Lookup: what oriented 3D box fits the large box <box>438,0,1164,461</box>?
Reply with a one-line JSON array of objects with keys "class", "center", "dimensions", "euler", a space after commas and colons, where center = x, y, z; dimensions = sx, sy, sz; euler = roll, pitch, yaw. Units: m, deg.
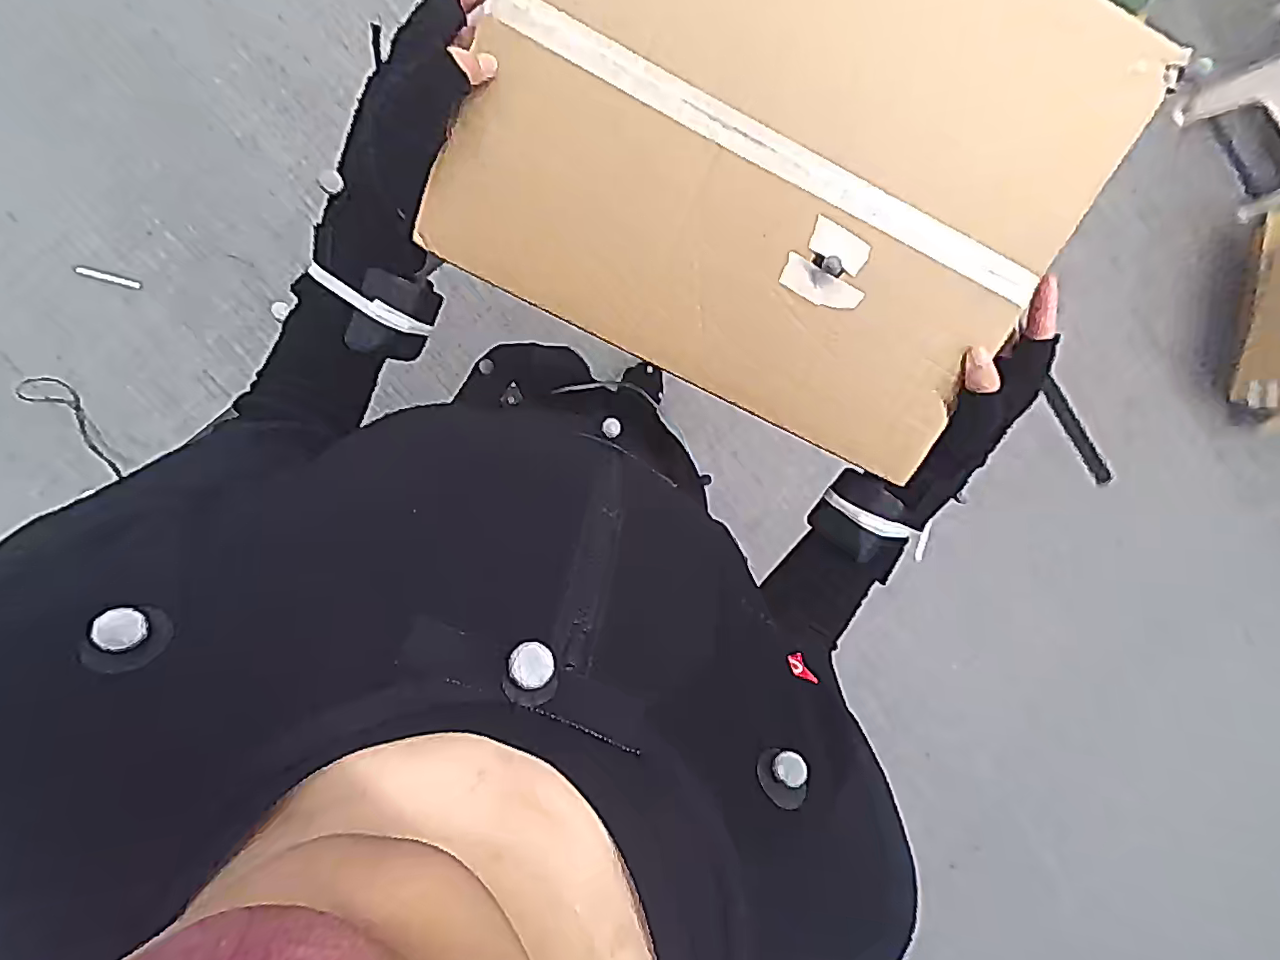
[{"class": "large box", "center": [0.097, -0.269, 0.509], "dimensions": [0.408, 0.320, 0.320], "euler": [25, 108, -7]}]
